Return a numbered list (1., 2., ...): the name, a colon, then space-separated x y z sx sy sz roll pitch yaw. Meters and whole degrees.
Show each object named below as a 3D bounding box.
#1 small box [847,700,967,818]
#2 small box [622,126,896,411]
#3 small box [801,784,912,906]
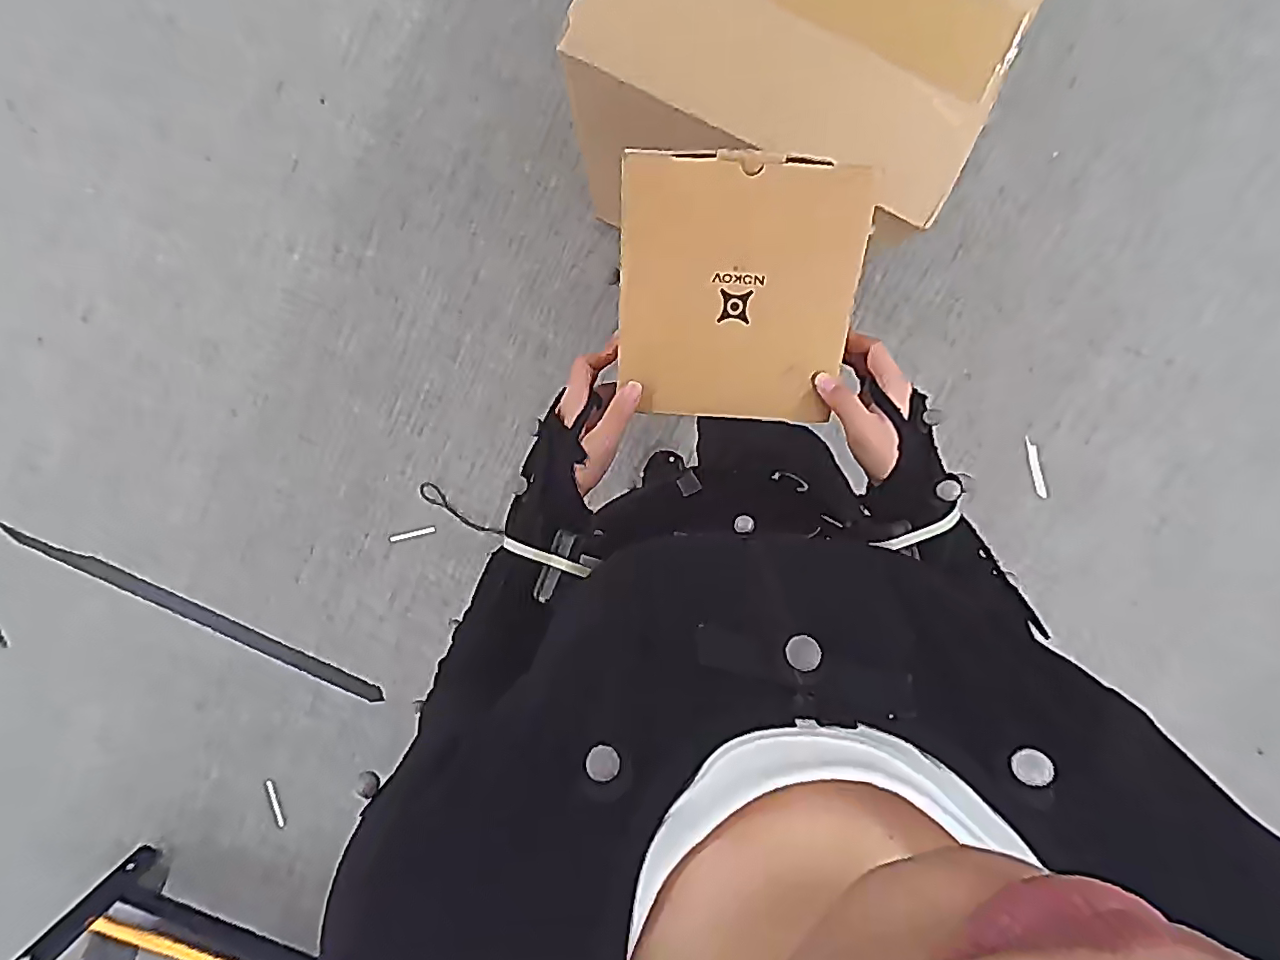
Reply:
1. small box: 0.665 0.693 1.367 0.179 0.176 0.168 33 95 -3
2. small box: 0.077 -0.169 0.441 0.168 0.176 0.179 3 115 1
3. small box: 0.550 0.931 1.395 0.179 0.176 0.168 28 94 -4
